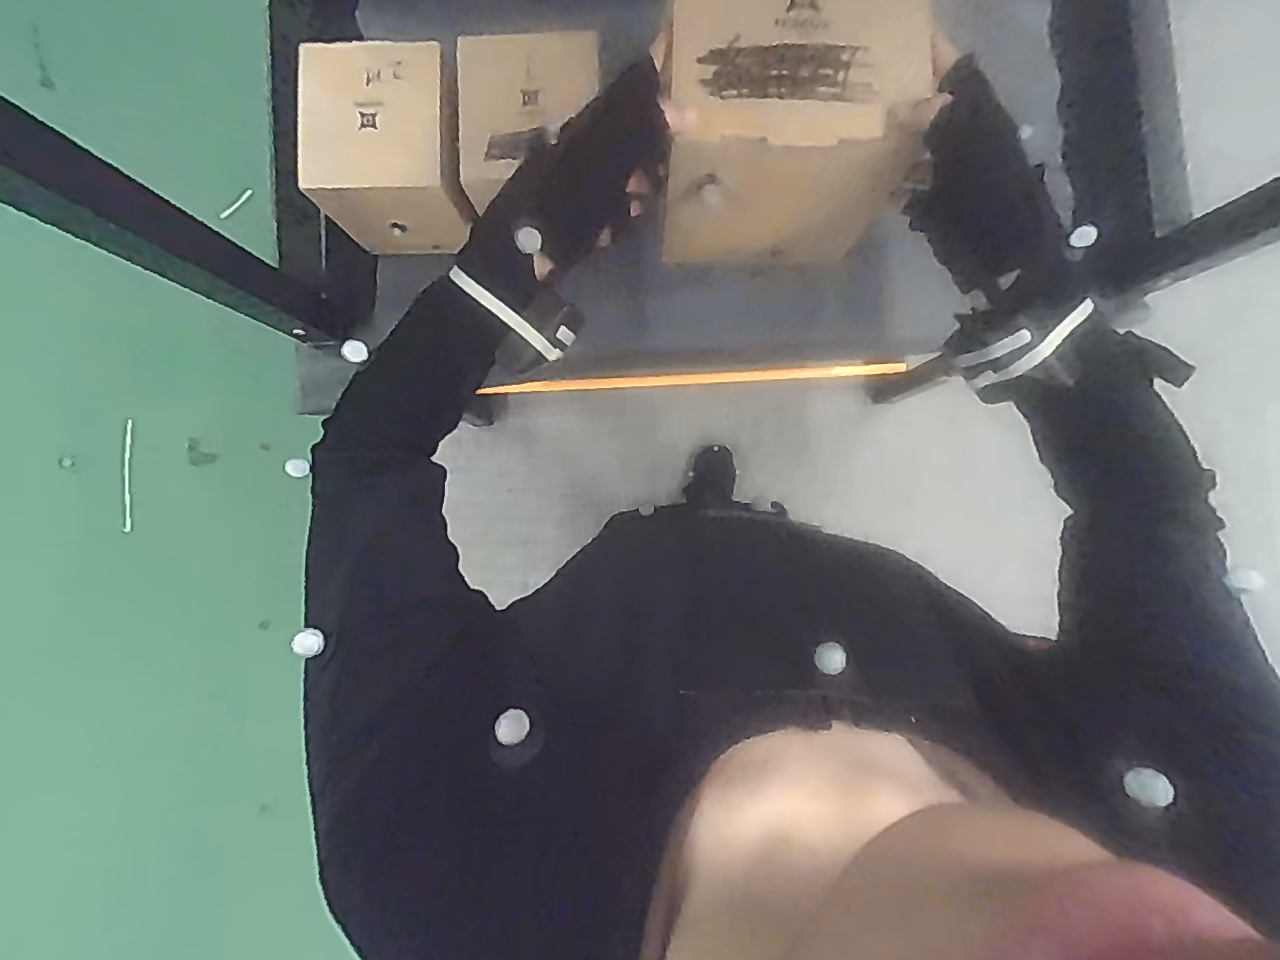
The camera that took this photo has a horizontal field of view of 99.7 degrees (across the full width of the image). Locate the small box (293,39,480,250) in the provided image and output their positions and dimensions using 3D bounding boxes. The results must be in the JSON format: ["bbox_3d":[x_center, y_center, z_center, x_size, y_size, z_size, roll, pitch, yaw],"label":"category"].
[{"bbox_3d":[-0.310,-0.412,0.693,0.168,0.176,0.179,0,87,-1],"label":"small box"}]
